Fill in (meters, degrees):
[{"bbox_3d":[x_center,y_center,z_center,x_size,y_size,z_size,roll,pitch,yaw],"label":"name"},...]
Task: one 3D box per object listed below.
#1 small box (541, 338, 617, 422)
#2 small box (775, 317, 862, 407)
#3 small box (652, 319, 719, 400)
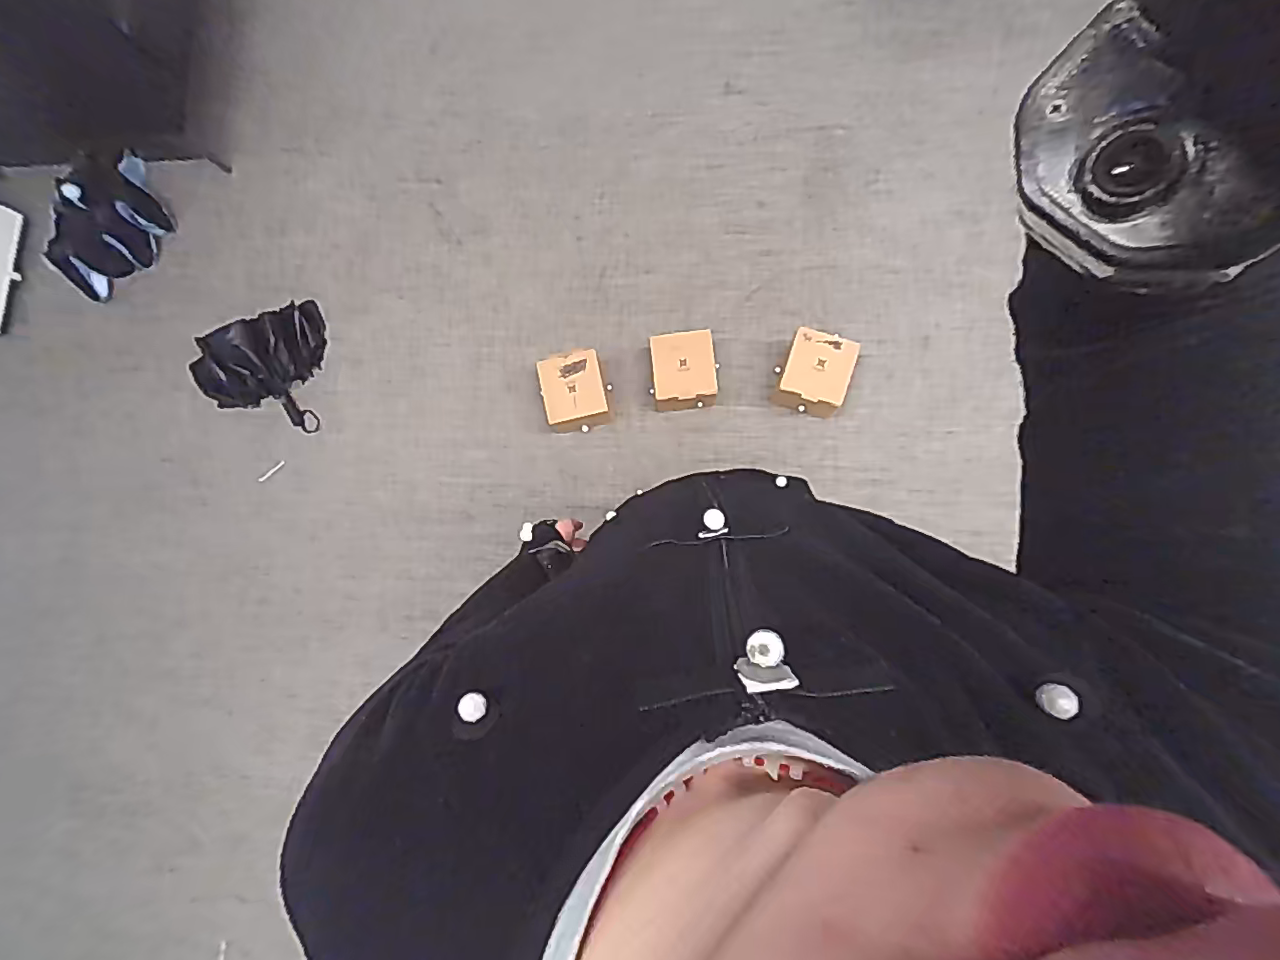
[{"bbox_3d":[-0.166,-0.276,1.522,0.168,0.176,0.179,-12,87,5],"label":"small box"},{"bbox_3d":[0.474,-0.311,1.465,0.168,0.176,0.179,19,89,7],"label":"small box"},{"bbox_3d":[0.126,-0.326,1.501,0.168,0.176,0.179,-6,85,4],"label":"small box"}]
